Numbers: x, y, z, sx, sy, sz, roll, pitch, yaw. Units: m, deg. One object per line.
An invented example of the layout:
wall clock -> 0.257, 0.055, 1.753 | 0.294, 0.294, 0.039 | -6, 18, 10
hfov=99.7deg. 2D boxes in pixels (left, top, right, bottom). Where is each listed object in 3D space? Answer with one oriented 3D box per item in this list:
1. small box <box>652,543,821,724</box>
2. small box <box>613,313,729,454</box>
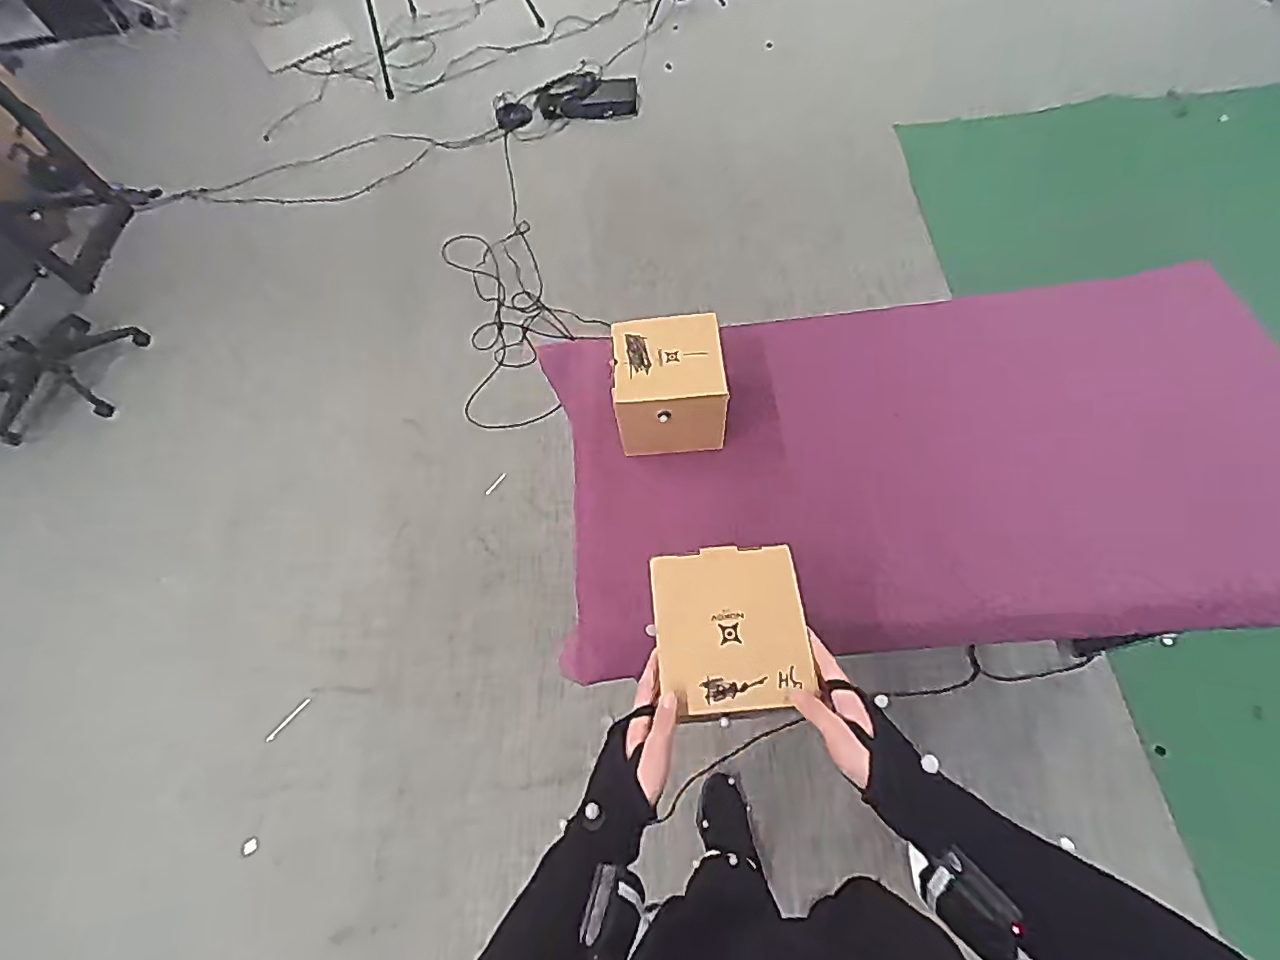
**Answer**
small box -> 0.104, 0.192, 0.659 | 0.168, 0.176, 0.179 | -6, 63, 2
small box -> 0.053, -0.155, 0.916 | 0.179, 0.176, 0.168 | -5, 63, 3
